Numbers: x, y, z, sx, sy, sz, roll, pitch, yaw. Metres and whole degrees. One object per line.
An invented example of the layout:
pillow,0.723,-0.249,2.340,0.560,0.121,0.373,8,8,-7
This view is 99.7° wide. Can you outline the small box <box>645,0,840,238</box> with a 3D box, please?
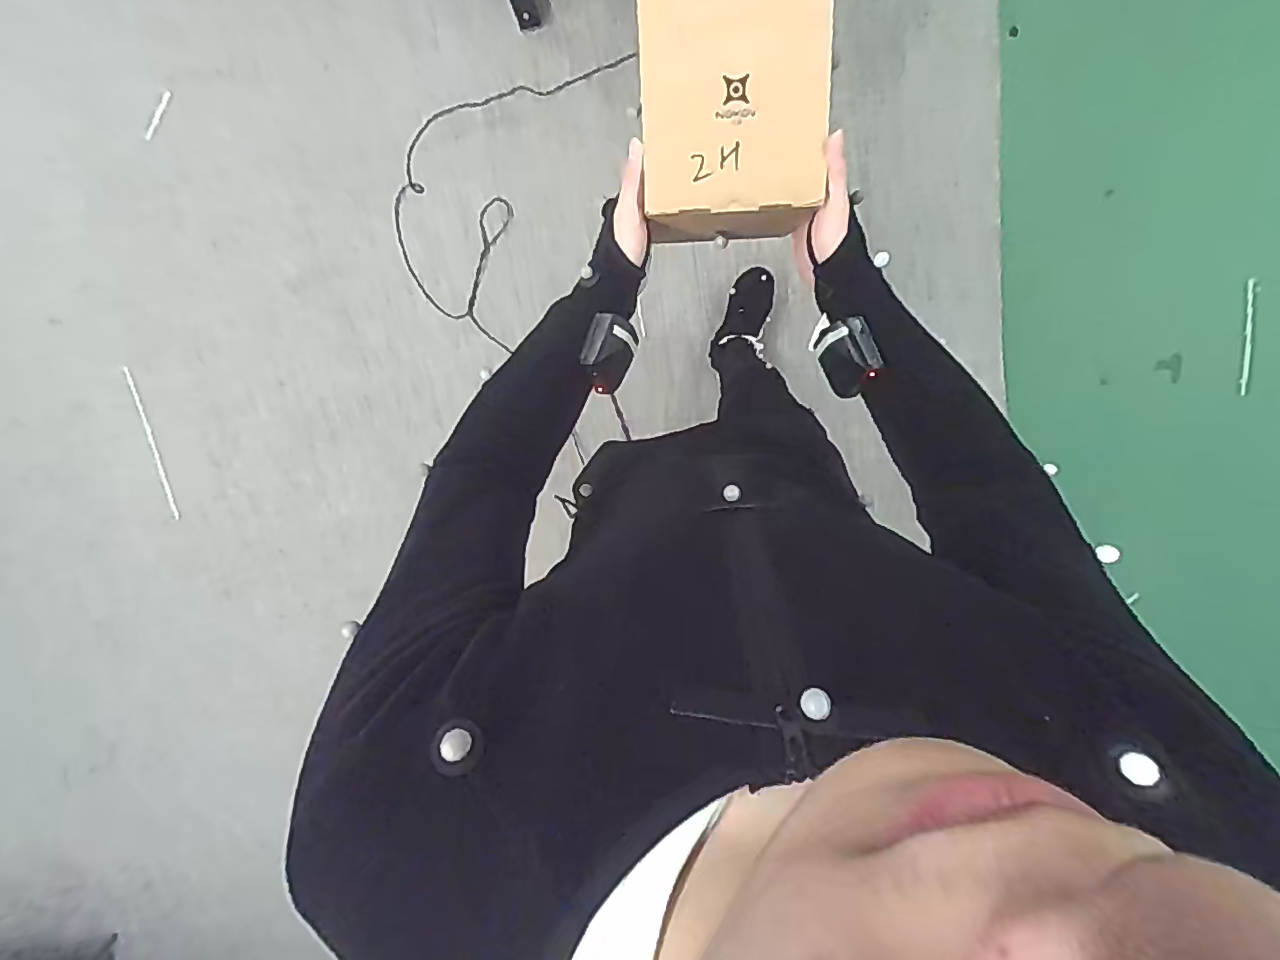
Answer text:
small box,0.089,-0.356,0.544,0.168,0.176,0.179,-2,105,3
